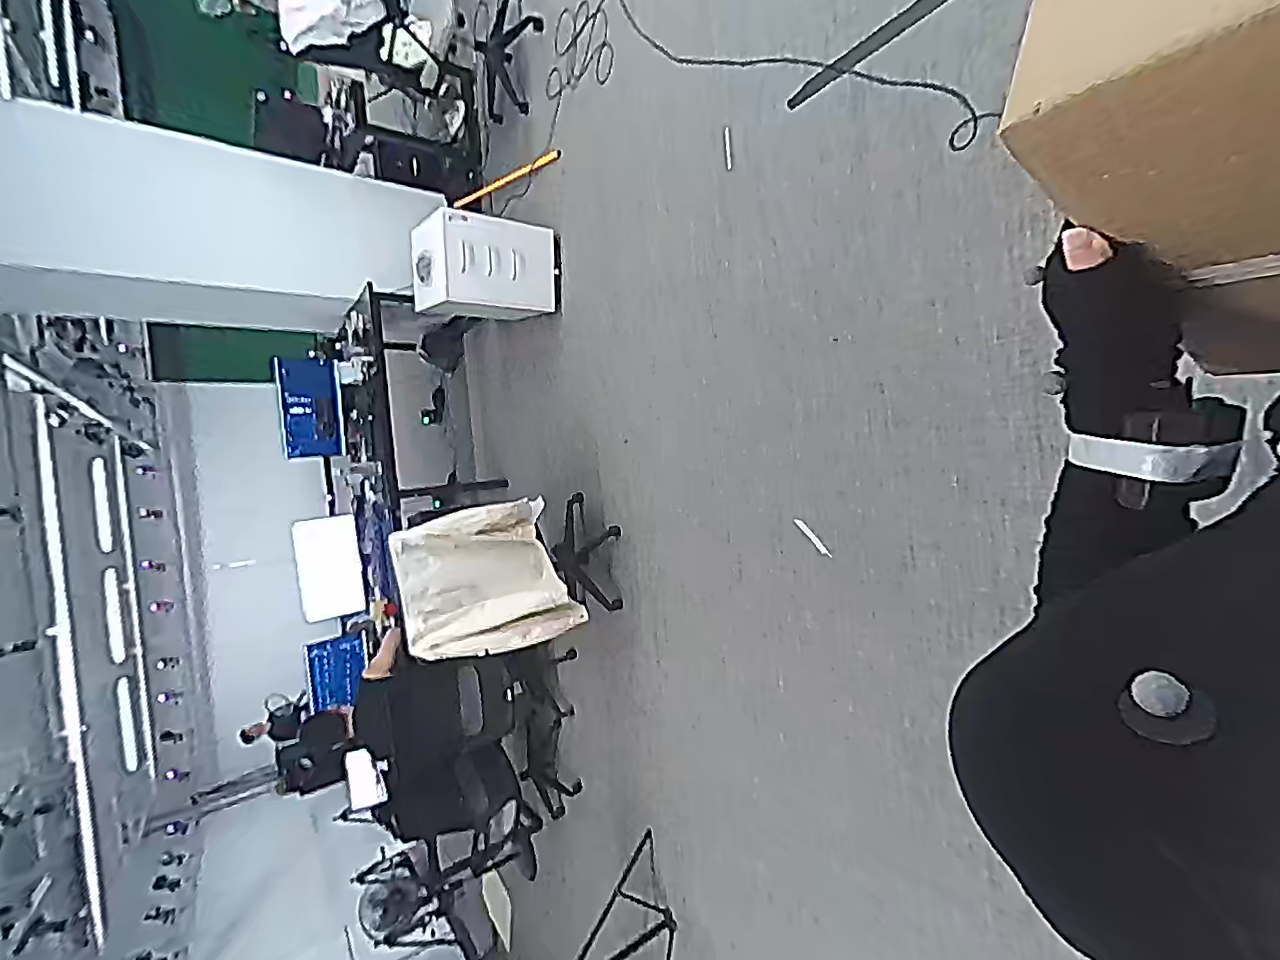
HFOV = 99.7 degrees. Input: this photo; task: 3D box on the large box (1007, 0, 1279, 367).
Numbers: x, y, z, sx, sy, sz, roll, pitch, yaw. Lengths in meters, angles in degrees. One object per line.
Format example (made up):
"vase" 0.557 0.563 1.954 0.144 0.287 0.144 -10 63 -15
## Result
"large box" 0.430 -0.251 0.164 0.408 0.320 0.320 11 85 60
